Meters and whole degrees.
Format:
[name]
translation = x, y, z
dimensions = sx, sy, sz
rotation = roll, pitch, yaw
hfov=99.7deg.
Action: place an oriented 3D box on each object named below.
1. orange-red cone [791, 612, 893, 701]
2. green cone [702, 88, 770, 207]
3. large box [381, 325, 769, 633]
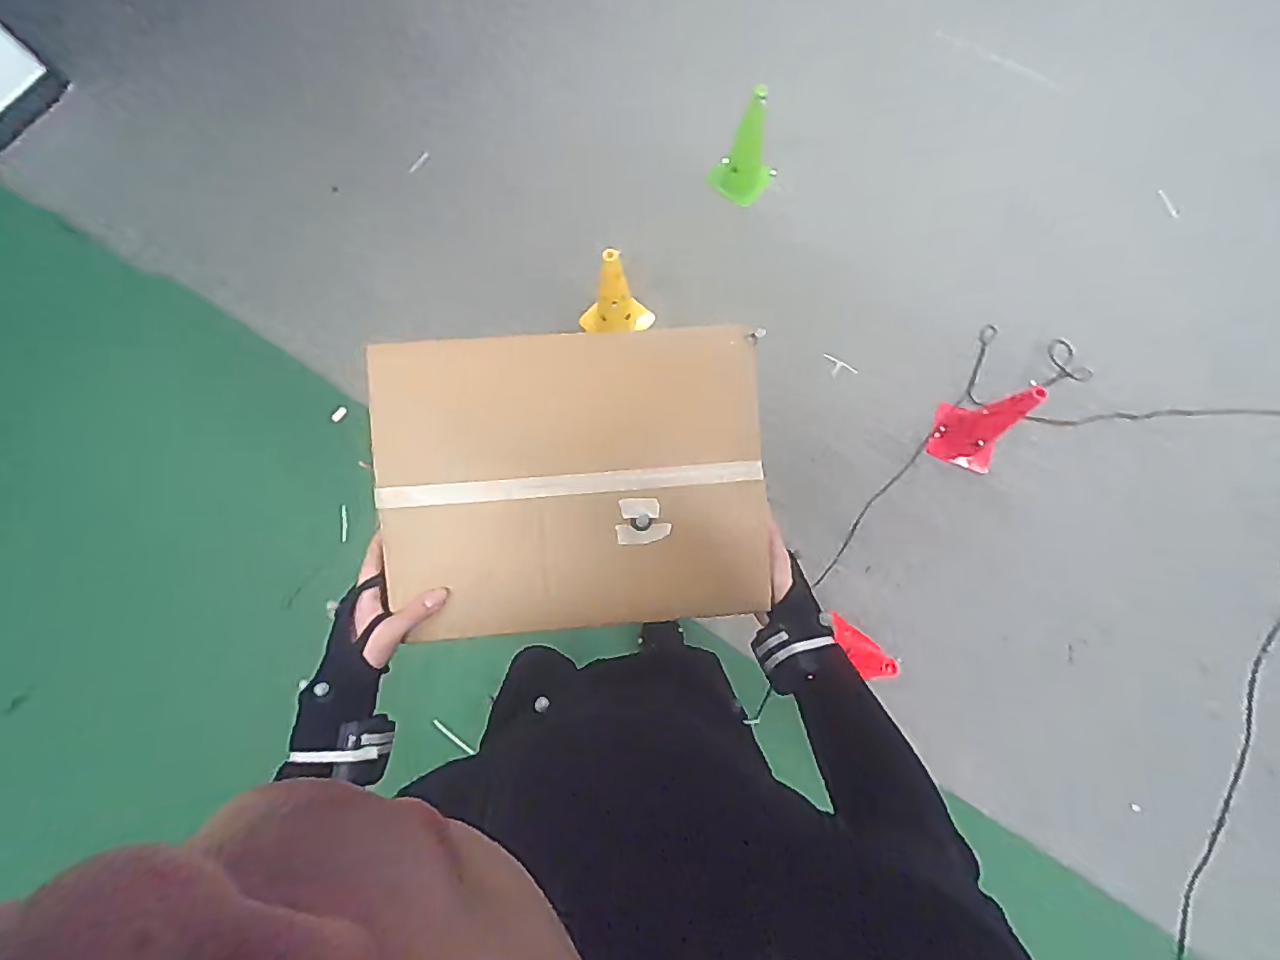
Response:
[orange-red cone]
translation = 0.573, 0.480, 1.428
dimensions = 0.199, 0.360, 0.198
rotation = 40, 80, 8
[green cone]
translation = 0.357, -1.174, 1.861
dimensions = 0.200, 0.368, 0.202
rotation = 38, 80, 10
[large box]
translation = -0.077, -0.007, 0.728
dimensions = 0.408, 0.320, 0.320
rotation = -3, 92, -5
